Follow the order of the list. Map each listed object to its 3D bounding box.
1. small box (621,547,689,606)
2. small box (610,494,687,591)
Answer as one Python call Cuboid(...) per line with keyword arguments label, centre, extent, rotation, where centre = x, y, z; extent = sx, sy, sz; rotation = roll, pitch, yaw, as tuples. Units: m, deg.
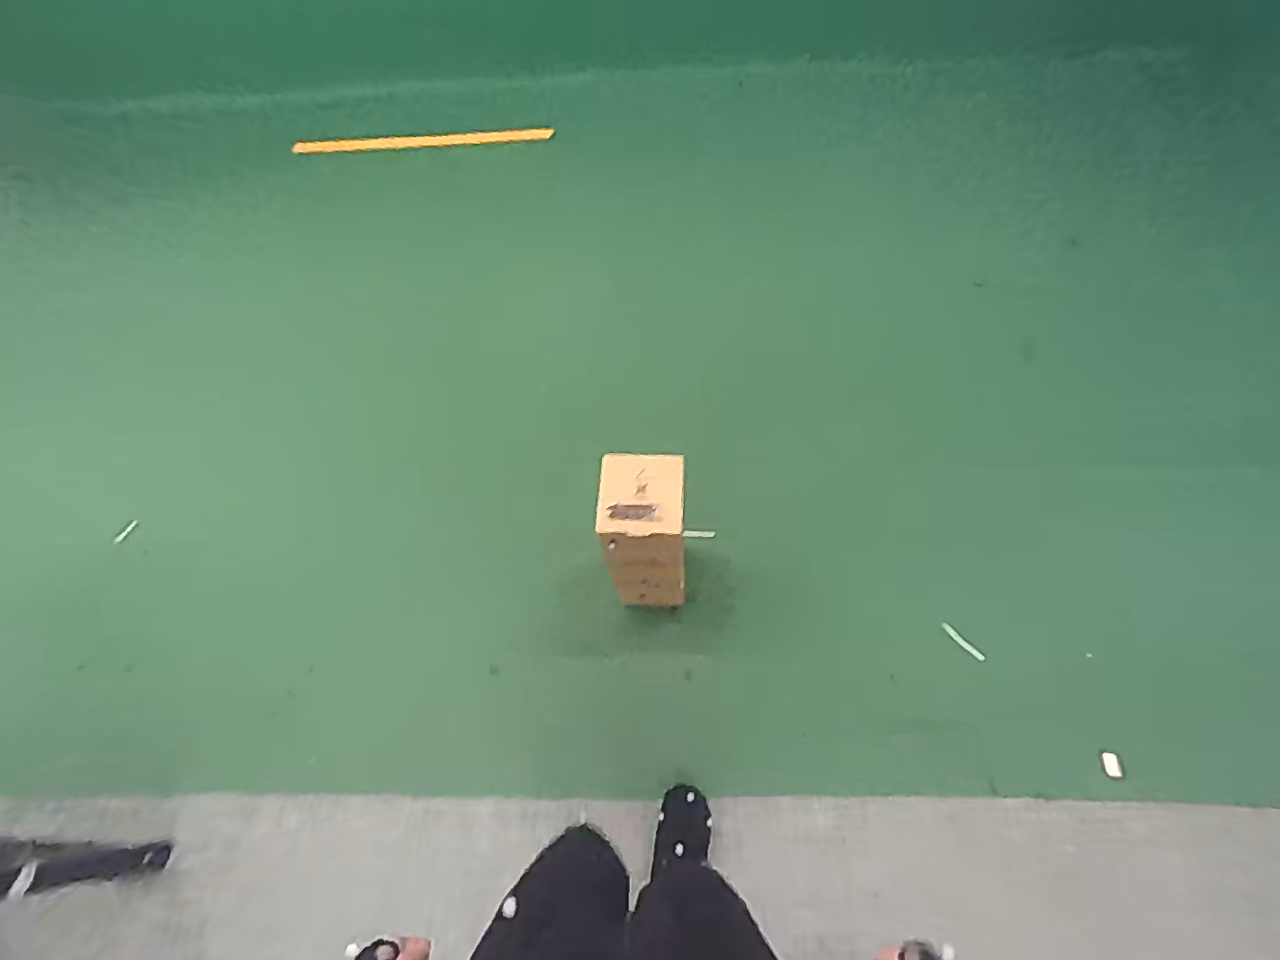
Cuboid(label="small box", centre=(0.043, 0.228, 1.421), extent=(0.168, 0.176, 0.179), rotation=(-2, 61, 4))
Cuboid(label="small box", centre=(0.027, 0.149, 1.277), extent=(0.168, 0.176, 0.179), rotation=(0, 62, 6))
